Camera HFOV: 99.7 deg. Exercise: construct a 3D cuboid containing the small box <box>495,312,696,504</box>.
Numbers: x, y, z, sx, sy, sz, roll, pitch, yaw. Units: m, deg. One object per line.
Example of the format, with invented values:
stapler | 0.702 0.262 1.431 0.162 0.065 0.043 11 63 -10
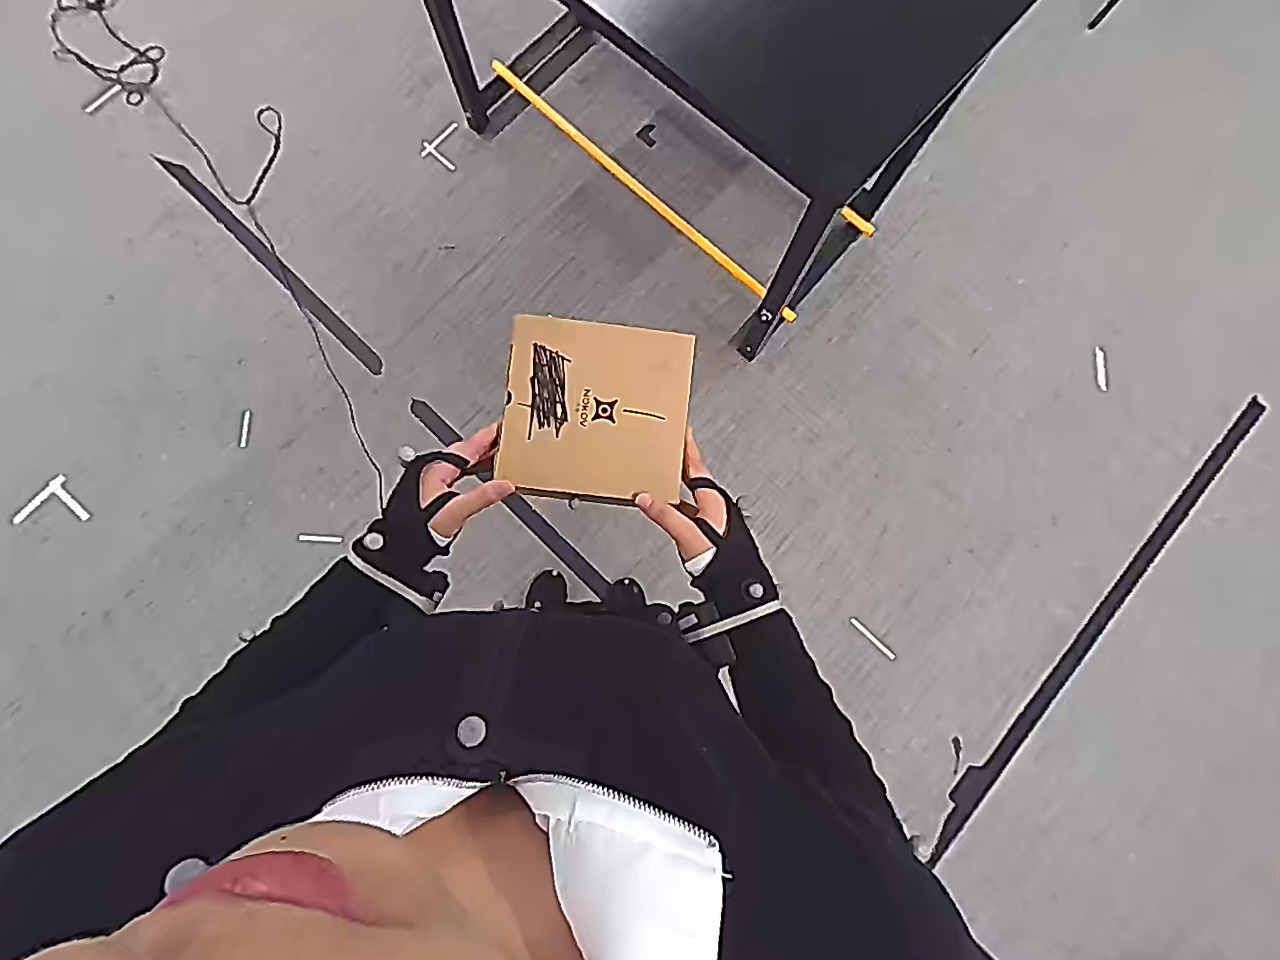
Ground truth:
small box | -0.045 -0.064 0.588 0.179 0.176 0.168 6 85 -3
